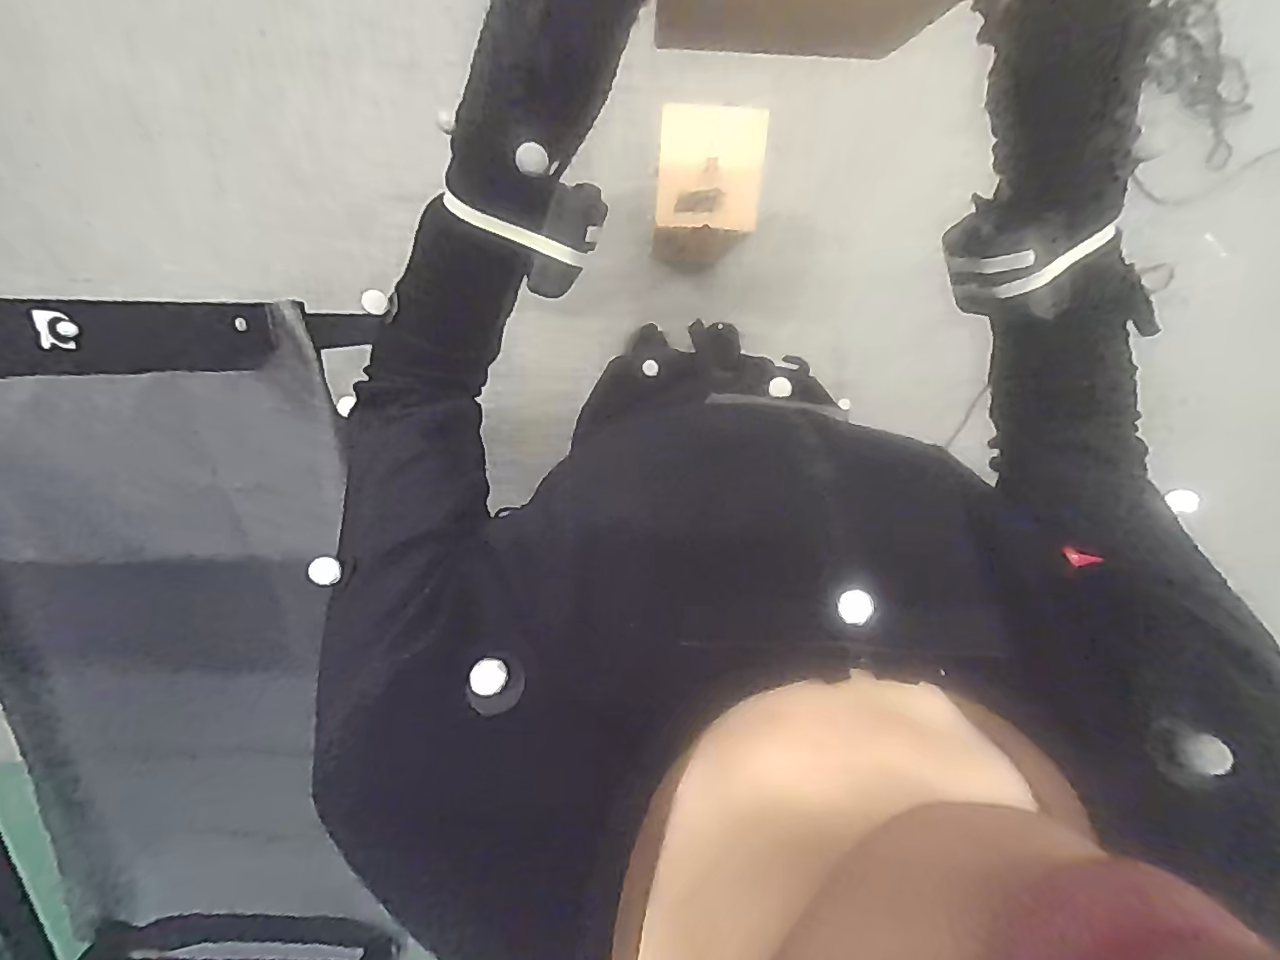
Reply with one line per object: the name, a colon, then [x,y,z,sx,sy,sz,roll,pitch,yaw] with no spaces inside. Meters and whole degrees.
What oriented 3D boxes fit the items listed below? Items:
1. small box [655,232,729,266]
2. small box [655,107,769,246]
small box: [0.124,-0.601,1.244,0.168,0.176,0.179,6,107,0]
small box: [0.115,-0.509,0.931,0.168,0.176,0.179,4,106,0]
